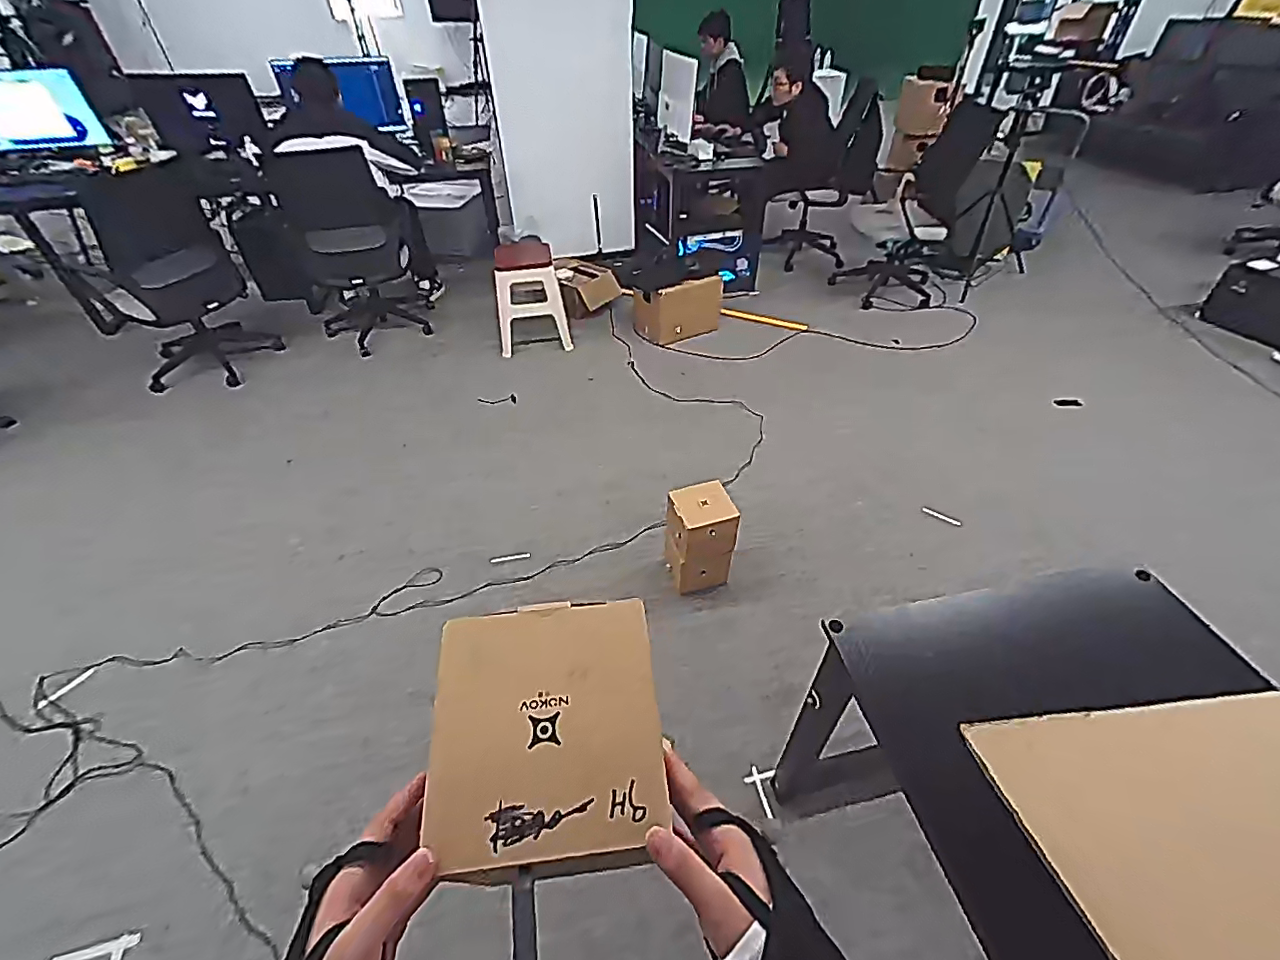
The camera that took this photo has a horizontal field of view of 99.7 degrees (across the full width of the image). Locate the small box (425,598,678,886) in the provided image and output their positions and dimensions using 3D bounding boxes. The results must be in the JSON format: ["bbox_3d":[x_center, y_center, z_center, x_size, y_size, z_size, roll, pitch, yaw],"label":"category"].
[{"bbox_3d":[-0.064,0.224,0.462,0.168,0.176,0.179,-6,51,-3],"label":"small box"}]

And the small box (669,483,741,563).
[{"bbox_3d":[0.198,0.140,1.711,0.179,0.176,0.168,-13,45,-14],"label":"small box"}]

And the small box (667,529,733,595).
[{"bbox_3d":[0.196,0.262,1.819,0.179,0.176,0.168,-12,44,-10],"label":"small box"}]
